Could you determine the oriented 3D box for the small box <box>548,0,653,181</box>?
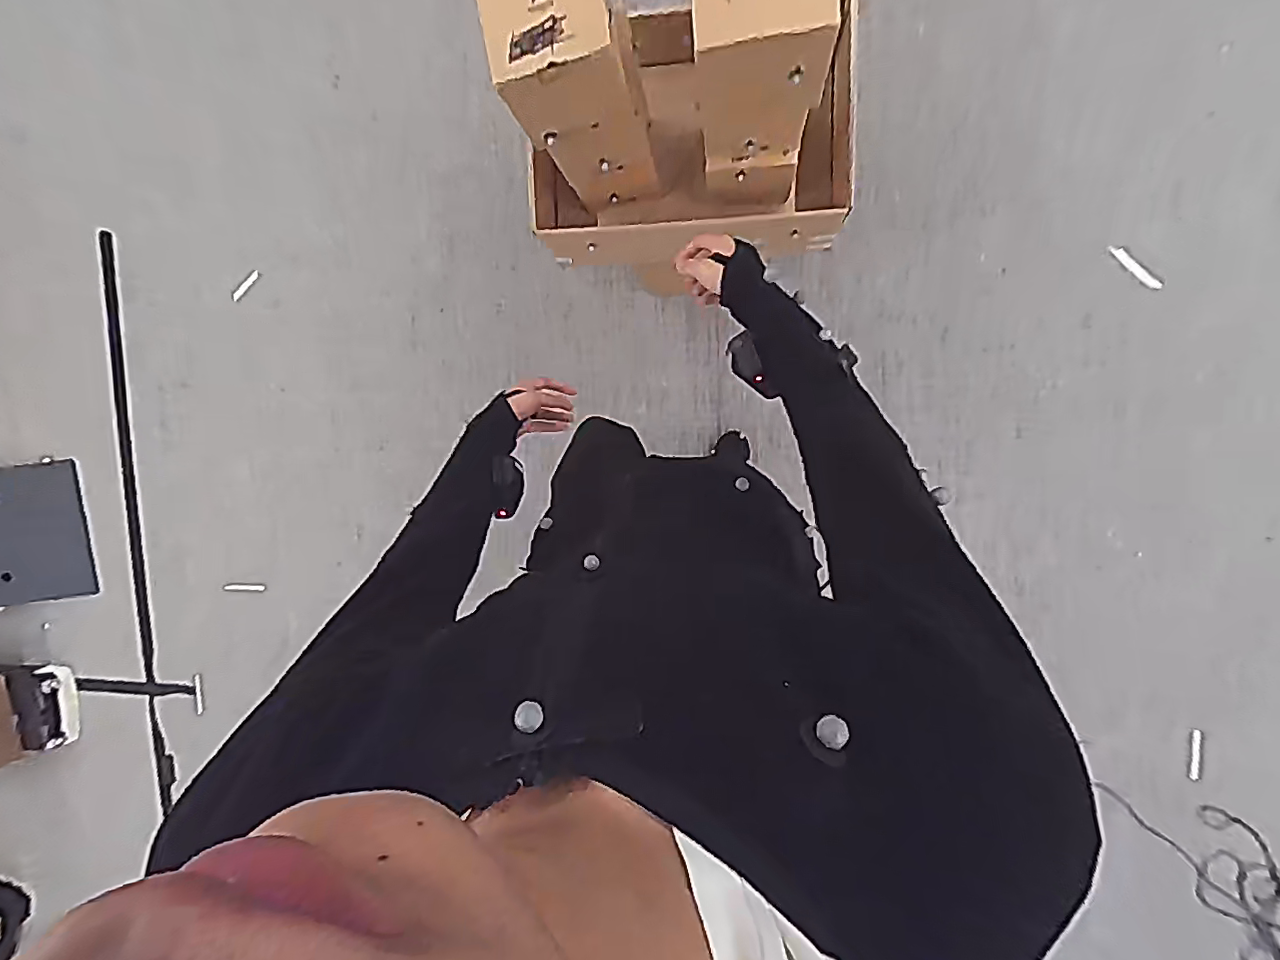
[{"bbox_3d":[-0.077,-0.650,0.923,0.168,0.176,0.179,-8,94,10],"label":"small box"}]

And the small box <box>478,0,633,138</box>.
[{"bbox_3d":[-0.113,-0.620,0.765,0.168,0.176,0.179,-10,93,10],"label":"small box"}]

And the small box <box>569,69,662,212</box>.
[{"bbox_3d":[-0.055,-0.673,1.084,0.168,0.176,0.179,-8,94,10],"label":"small box"}]

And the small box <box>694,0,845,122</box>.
[{"bbox_3d":[0.162,-0.618,0.721,0.179,0.176,0.168,-3,93,9],"label":"small box"}]
